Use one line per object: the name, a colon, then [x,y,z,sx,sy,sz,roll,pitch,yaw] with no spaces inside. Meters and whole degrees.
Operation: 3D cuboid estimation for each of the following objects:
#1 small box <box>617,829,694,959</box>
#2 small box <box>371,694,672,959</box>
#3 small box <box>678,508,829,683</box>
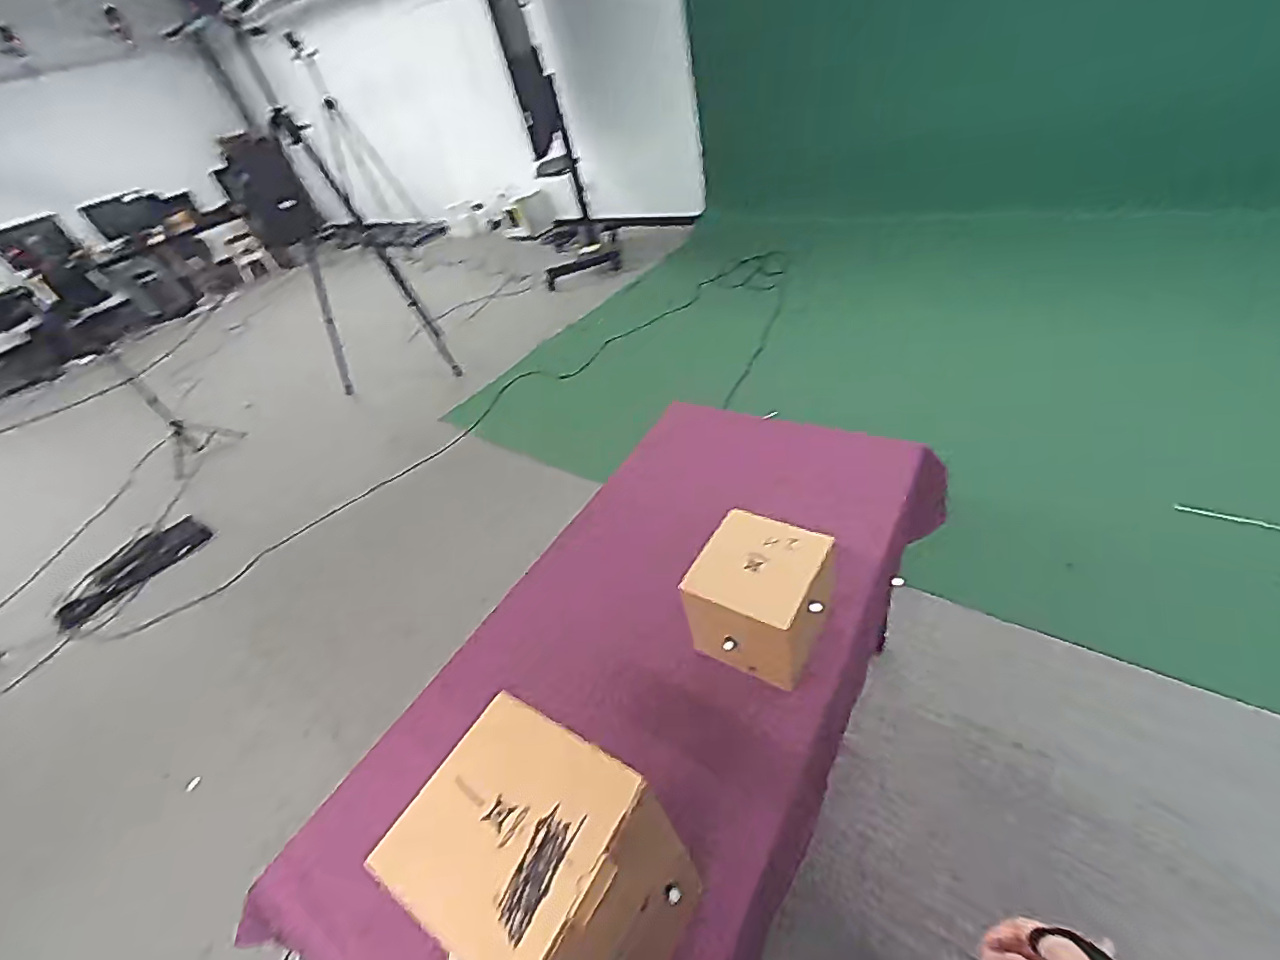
small box: [-0.055,0.460,0.594,0.168,0.176,0.179,15,48,32]
small box: [-0.090,0.337,0.490,0.179,0.176,0.168,13,47,33]
small box: [0.183,0.178,0.835,0.168,0.176,0.179,17,50,32]
